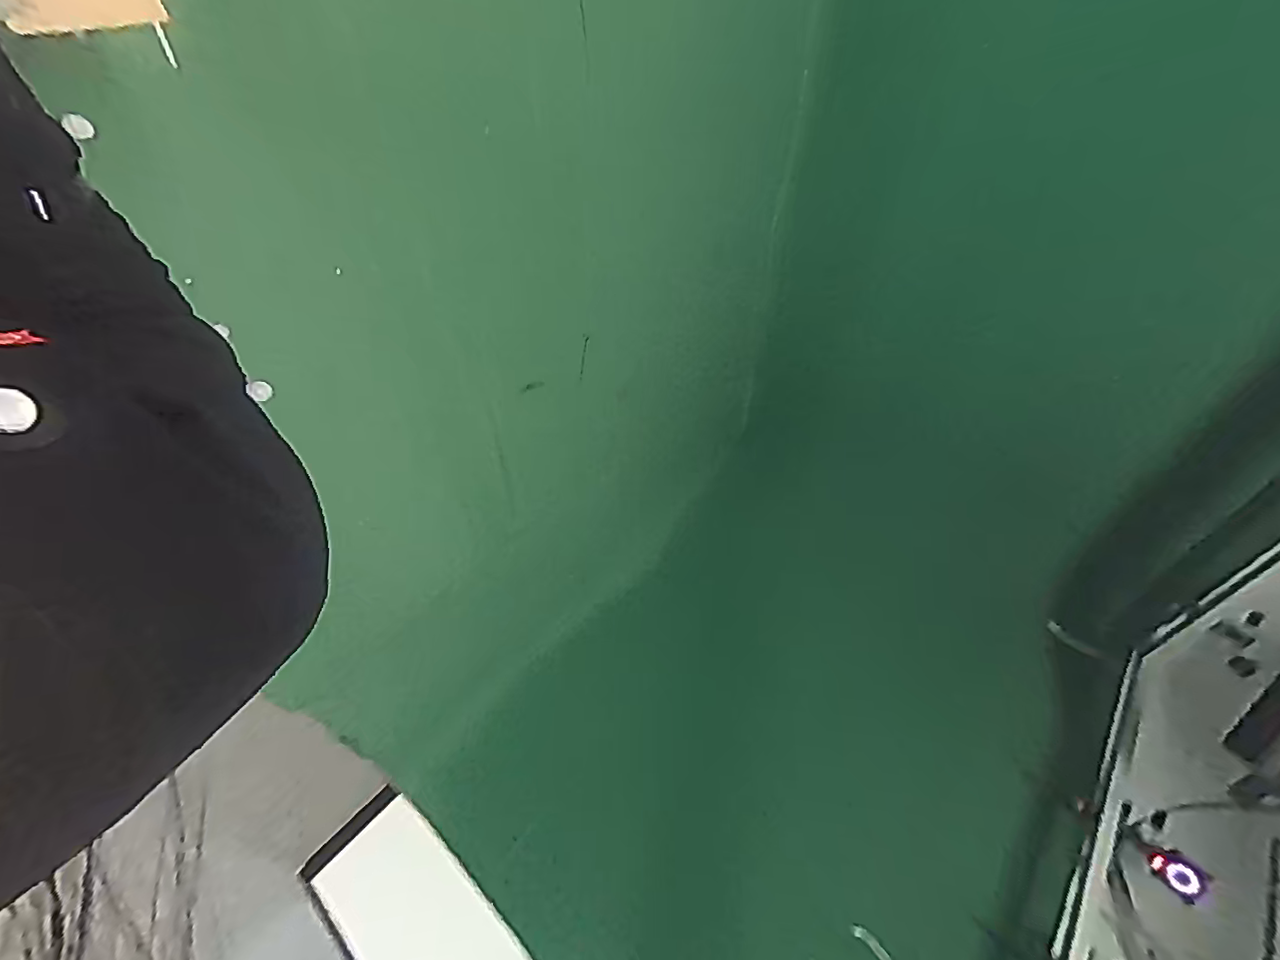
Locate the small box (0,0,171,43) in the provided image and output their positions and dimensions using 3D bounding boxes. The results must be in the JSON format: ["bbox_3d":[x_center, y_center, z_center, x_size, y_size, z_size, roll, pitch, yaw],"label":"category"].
[{"bbox_3d":[-0.765,-0.671,0.683,0.179,0.176,0.168,-41,146,-33],"label":"small box"}]
